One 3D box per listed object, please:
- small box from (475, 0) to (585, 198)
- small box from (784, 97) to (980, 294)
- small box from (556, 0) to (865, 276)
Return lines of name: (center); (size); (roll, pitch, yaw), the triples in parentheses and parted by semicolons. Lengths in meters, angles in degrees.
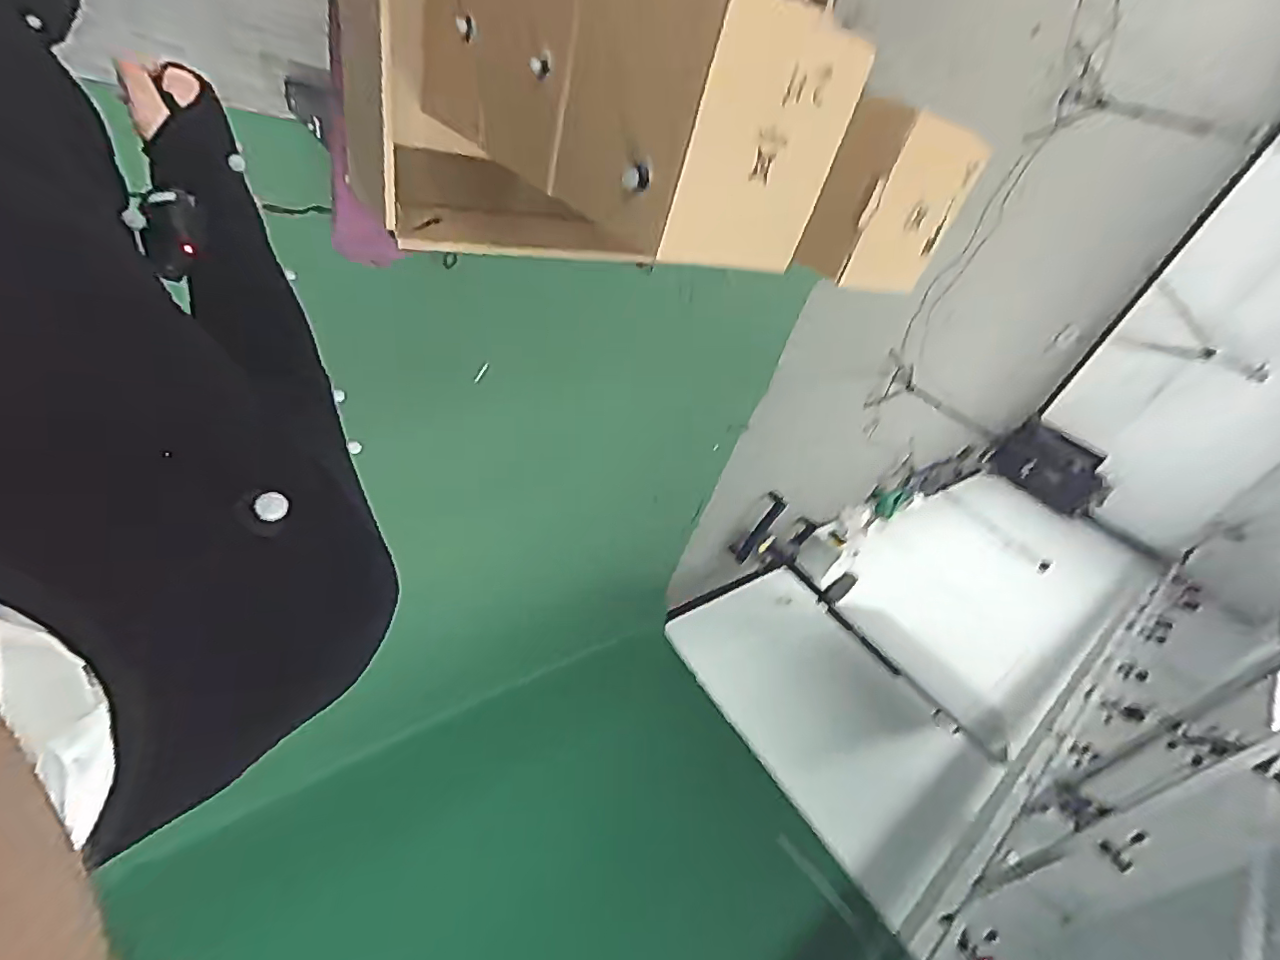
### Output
small box: (-0.054, -0.398, 0.554); (0.168, 0.176, 0.179); (-12, 135, -39)
small box: (0.244, -0.337, 0.638); (0.179, 0.176, 0.168); (-11, 136, -38)
small box: (0.046, -0.298, 0.467); (0.168, 0.176, 0.179); (-13, 135, -39)
